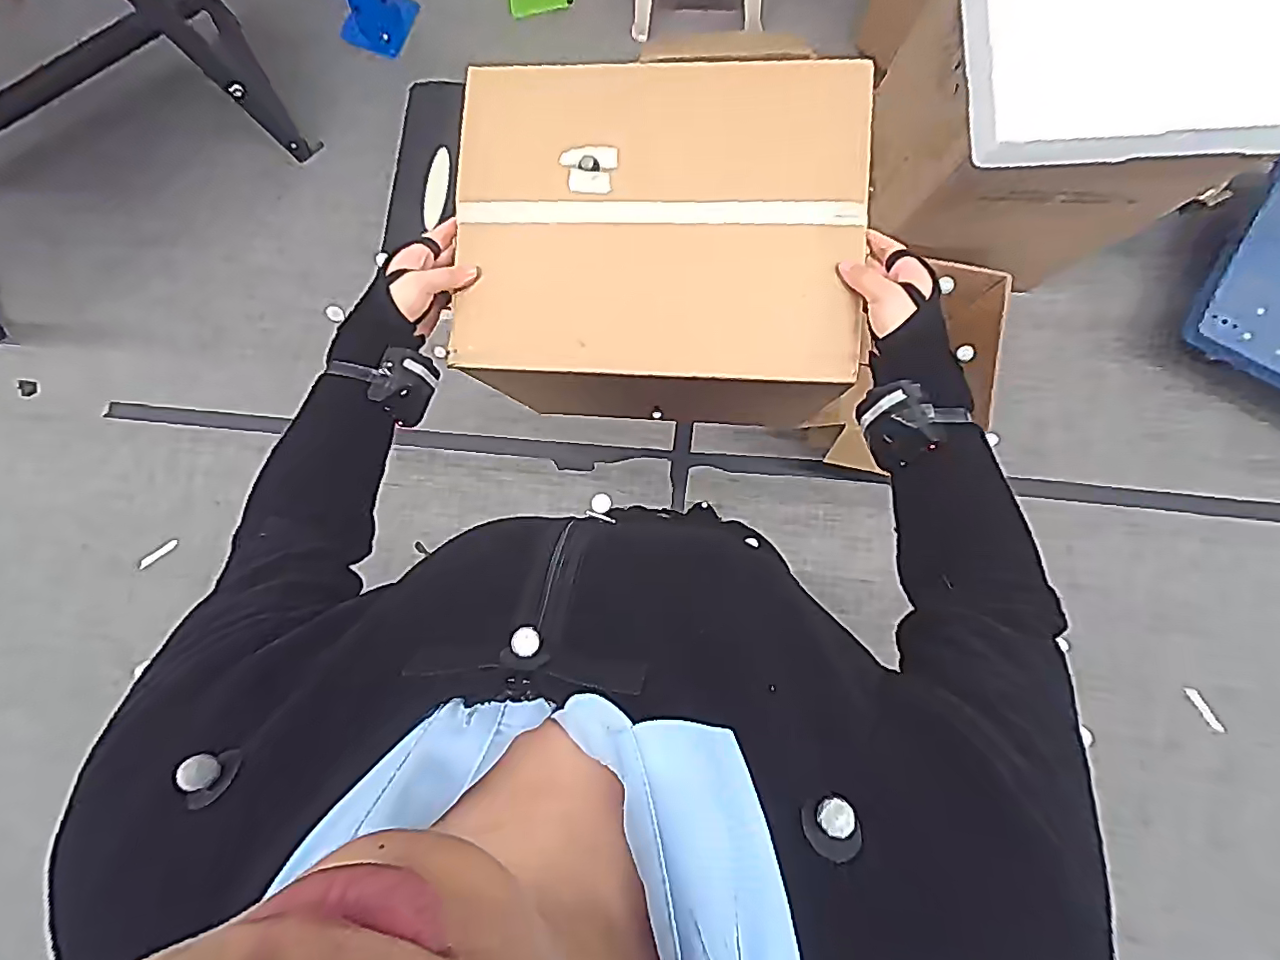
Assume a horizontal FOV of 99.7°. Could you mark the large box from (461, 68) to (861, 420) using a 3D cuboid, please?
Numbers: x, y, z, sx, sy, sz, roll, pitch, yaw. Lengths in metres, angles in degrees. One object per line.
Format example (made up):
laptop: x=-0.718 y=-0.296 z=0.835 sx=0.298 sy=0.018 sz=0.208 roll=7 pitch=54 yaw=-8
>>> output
large box: x=0.034 y=-0.252 z=0.694 sx=0.408 sy=0.320 sz=0.320 roll=3 pitch=87 yaw=6
